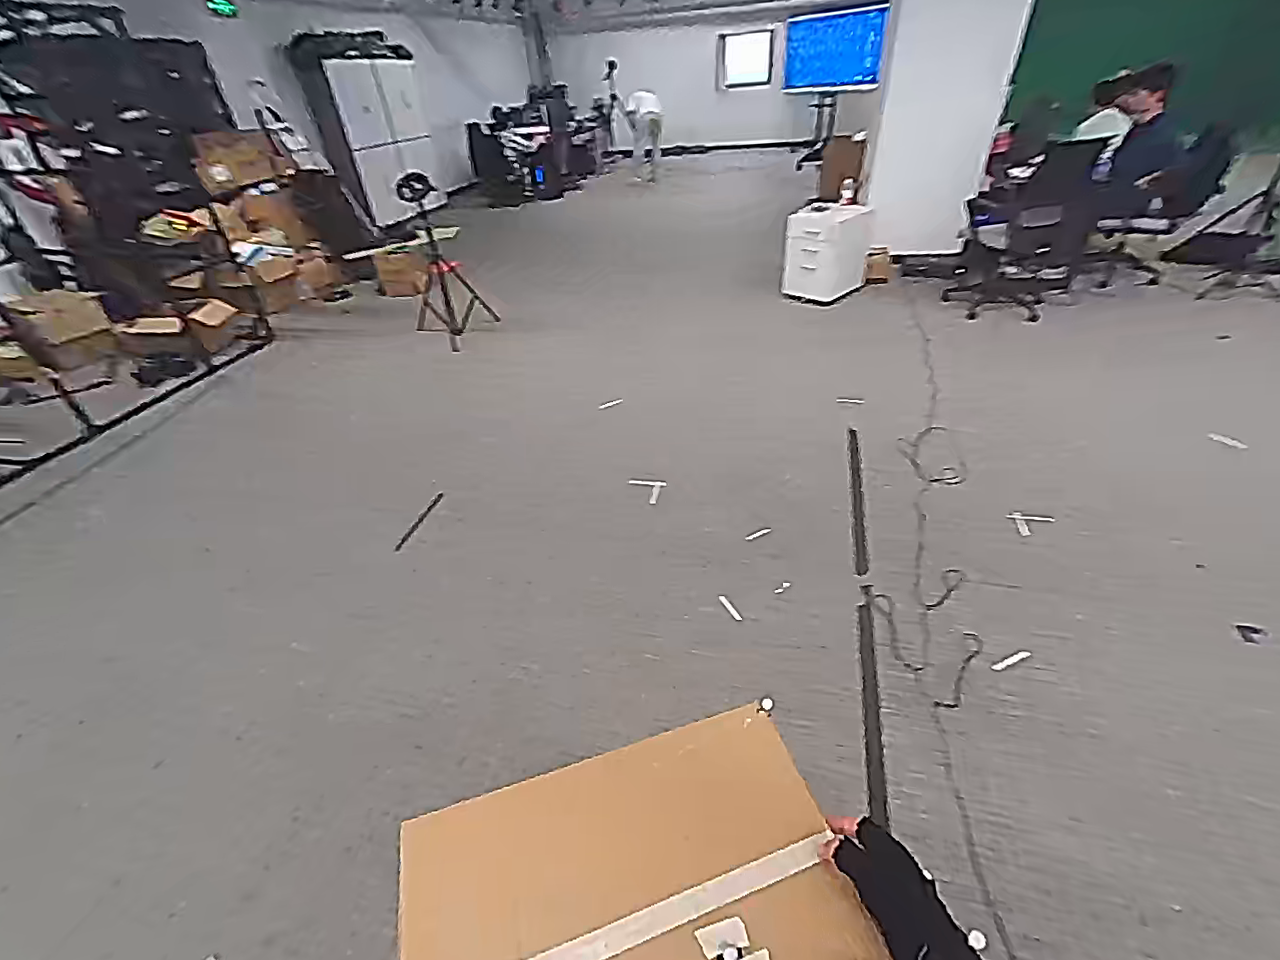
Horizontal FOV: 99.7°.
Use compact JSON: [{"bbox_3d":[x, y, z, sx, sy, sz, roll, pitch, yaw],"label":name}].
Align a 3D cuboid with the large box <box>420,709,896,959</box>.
[{"bbox_3d":[0.008,0.521,0.582,0.408,0.320,0.320,-12,40,-13],"label":"large box"}]
